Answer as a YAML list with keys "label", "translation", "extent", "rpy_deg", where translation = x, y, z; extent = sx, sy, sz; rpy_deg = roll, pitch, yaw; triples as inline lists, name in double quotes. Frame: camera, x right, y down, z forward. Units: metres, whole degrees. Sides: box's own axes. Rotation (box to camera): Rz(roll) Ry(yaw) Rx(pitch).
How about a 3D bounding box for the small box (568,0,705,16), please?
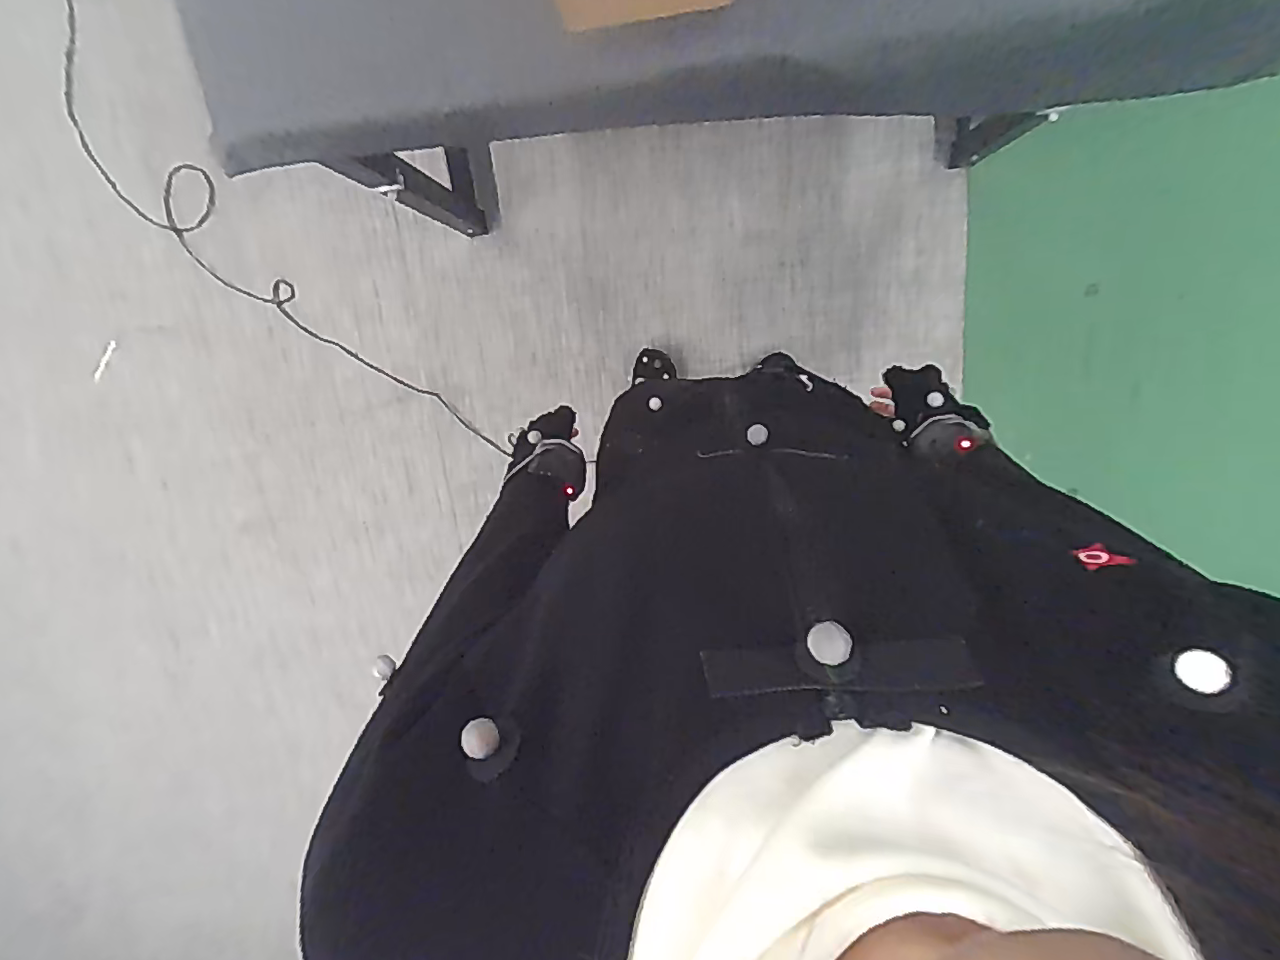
- label: "small box"
  translation: [-0.001, -0.548, 0.467]
  extent: [0.179, 0.176, 0.168]
  rpy_deg: [-5, 103, 5]
